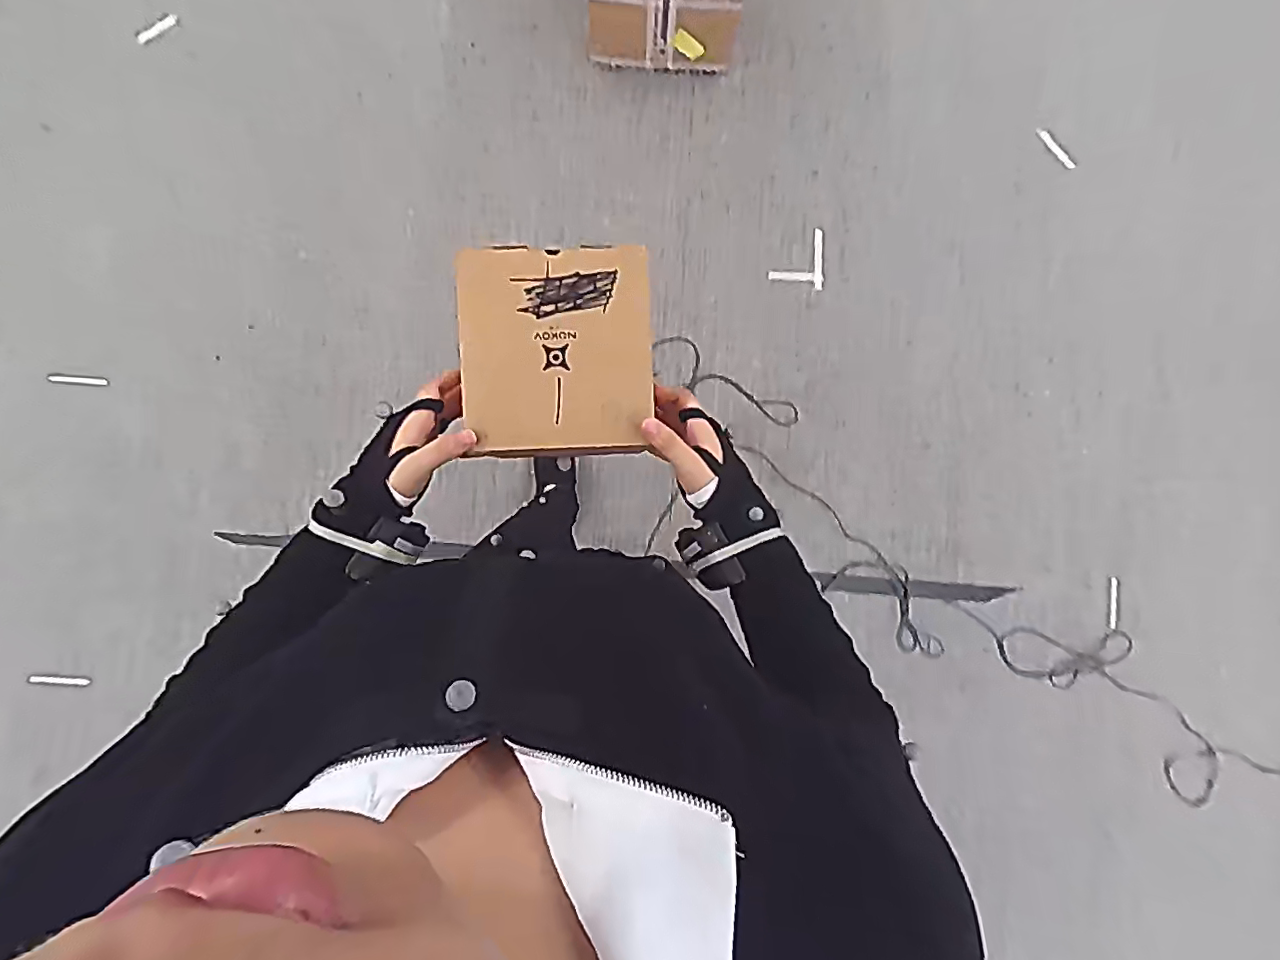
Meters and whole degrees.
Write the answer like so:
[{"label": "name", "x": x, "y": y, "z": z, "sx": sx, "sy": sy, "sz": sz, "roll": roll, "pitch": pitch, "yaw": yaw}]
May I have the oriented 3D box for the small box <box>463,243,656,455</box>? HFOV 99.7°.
[{"label": "small box", "x": -0.075, "y": -0.118, "z": 0.547, "sx": 0.168, "sy": 0.176, "sz": 0.179, "roll": -2, "pitch": 91, "yaw": -4}]
